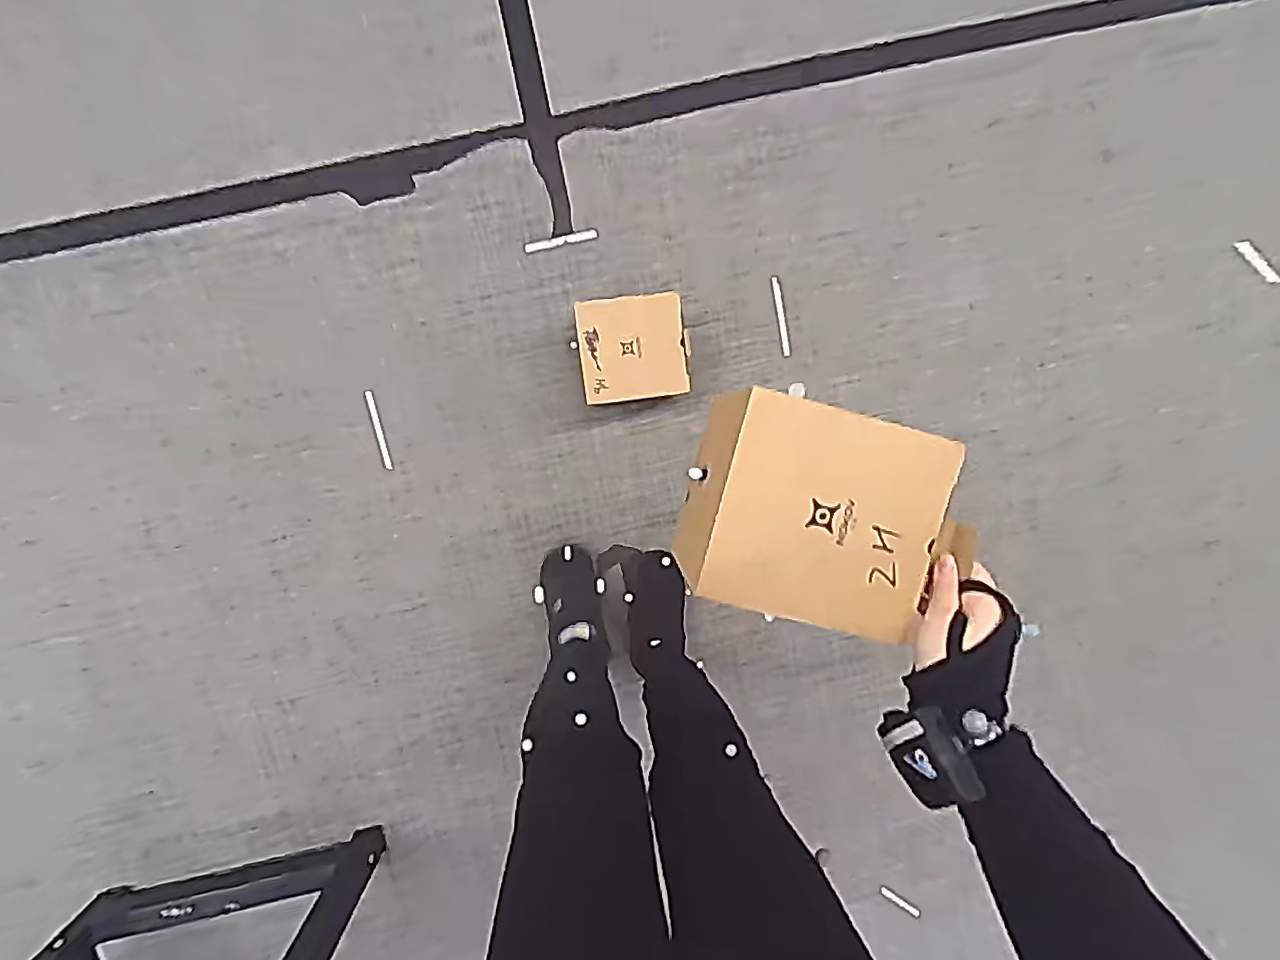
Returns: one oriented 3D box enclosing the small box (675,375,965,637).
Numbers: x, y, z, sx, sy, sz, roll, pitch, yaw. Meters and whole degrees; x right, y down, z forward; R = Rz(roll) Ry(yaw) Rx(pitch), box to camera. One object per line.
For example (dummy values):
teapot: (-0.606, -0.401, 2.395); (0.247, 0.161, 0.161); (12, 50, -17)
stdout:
small box: (0.139, 0.016, 0.488); (0.179, 0.176, 0.168); (15, 94, -4)

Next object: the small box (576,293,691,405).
small box: (-0.018, -0.224, 0.950); (0.179, 0.176, 0.168); (-7, 98, -5)
